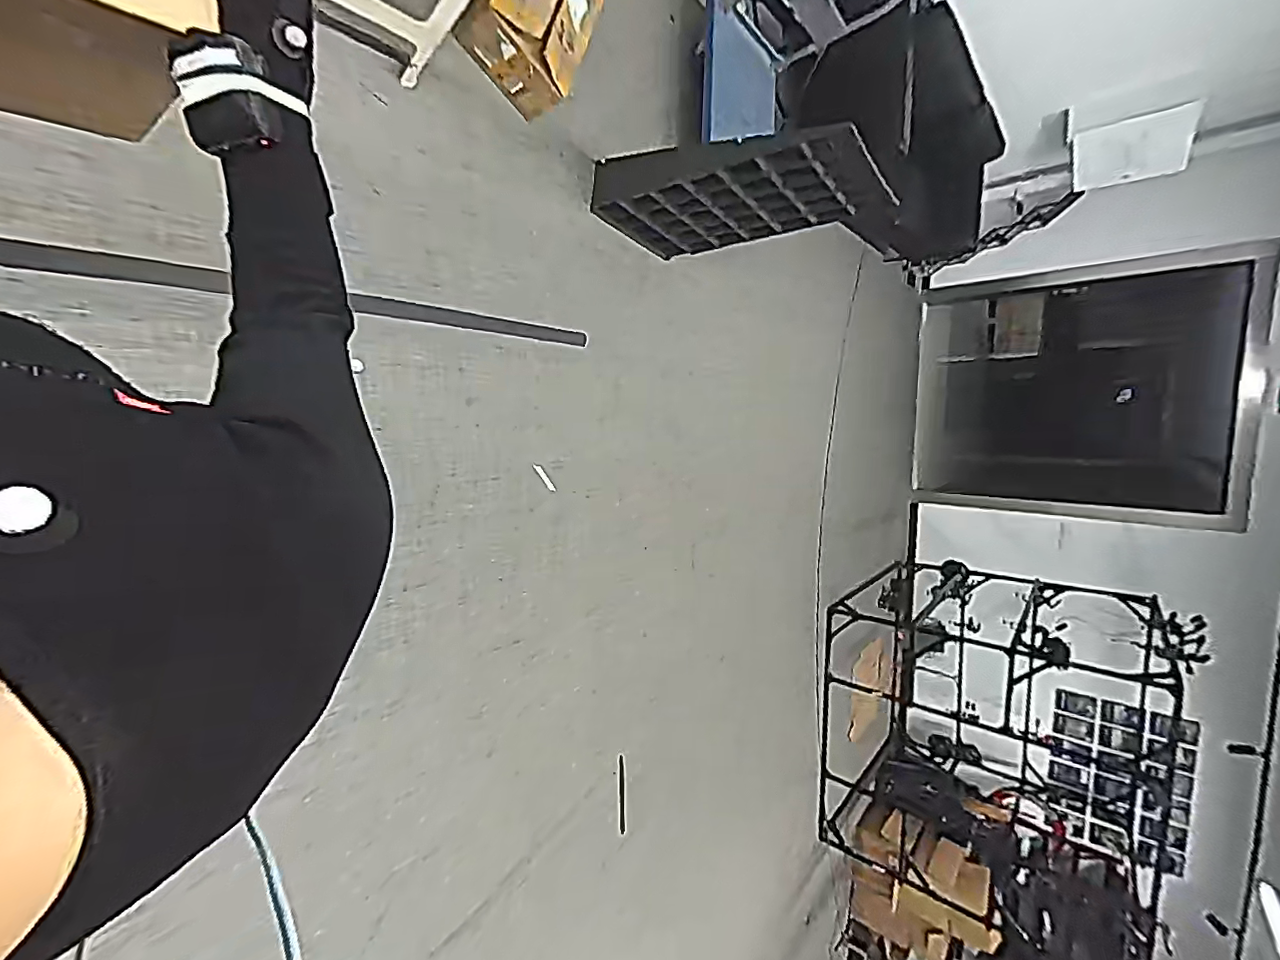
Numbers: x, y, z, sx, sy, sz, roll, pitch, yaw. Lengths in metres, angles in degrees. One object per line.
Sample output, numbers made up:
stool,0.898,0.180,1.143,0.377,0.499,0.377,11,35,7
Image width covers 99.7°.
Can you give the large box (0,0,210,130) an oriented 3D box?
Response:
large box,-0.549,-0.459,0.299,0.408,0.320,0.320,-14,111,-49
